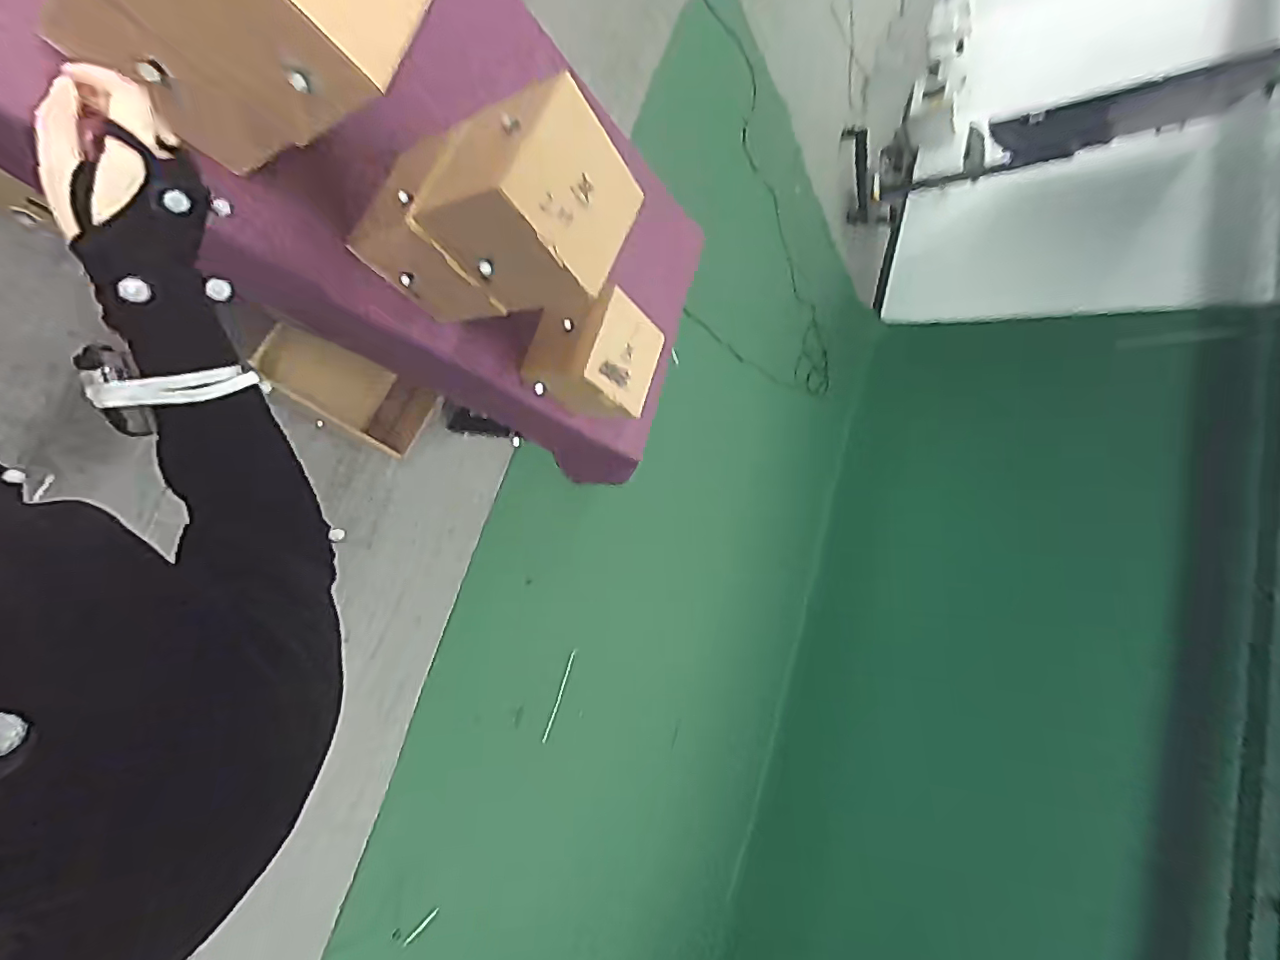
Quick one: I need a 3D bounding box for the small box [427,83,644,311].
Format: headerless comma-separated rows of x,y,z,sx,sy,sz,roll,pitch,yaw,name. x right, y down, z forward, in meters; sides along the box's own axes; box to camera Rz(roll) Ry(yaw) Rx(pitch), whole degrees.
-0.129,-0.334,0.672,0.168,0.176,0.179,41,66,-46,small box

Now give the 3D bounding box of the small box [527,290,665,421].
-0.084,-0.225,1.011,0.168,0.176,0.179,33,71,-49,small box

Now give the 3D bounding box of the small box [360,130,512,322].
-0.260,-0.348,0.772,0.168,0.176,0.179,39,67,-47,small box

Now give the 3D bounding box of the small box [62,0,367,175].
-0.424,-0.447,0.544,0.179,0.176,0.168,33,72,-48,small box
